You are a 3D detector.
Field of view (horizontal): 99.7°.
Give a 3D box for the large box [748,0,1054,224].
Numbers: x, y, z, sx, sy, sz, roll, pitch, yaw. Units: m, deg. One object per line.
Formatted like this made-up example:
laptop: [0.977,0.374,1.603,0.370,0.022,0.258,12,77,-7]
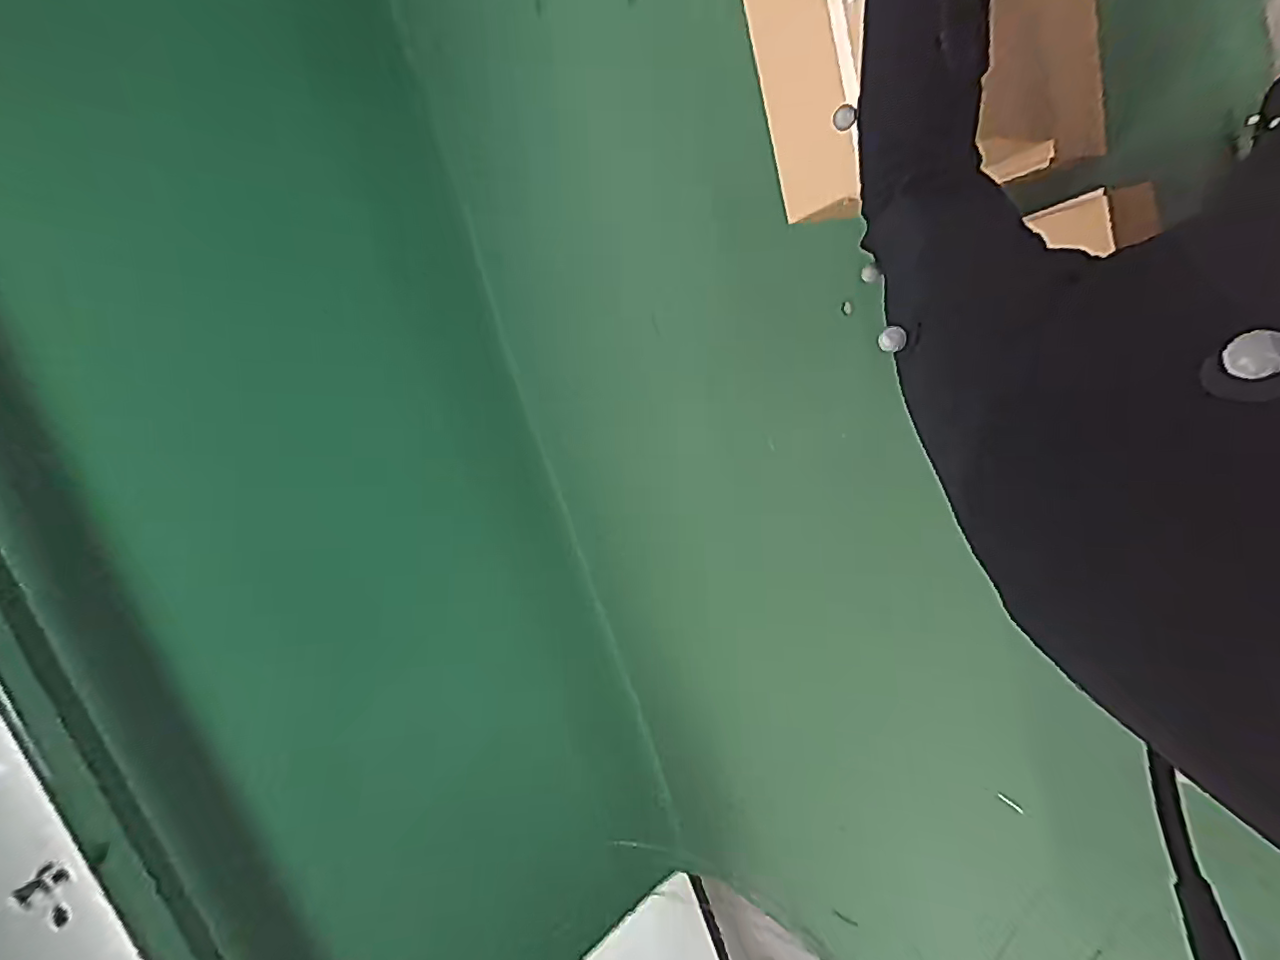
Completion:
large box: [0.428,-0.691,0.892,0.320,0.320,0.408,-1,108,53]
